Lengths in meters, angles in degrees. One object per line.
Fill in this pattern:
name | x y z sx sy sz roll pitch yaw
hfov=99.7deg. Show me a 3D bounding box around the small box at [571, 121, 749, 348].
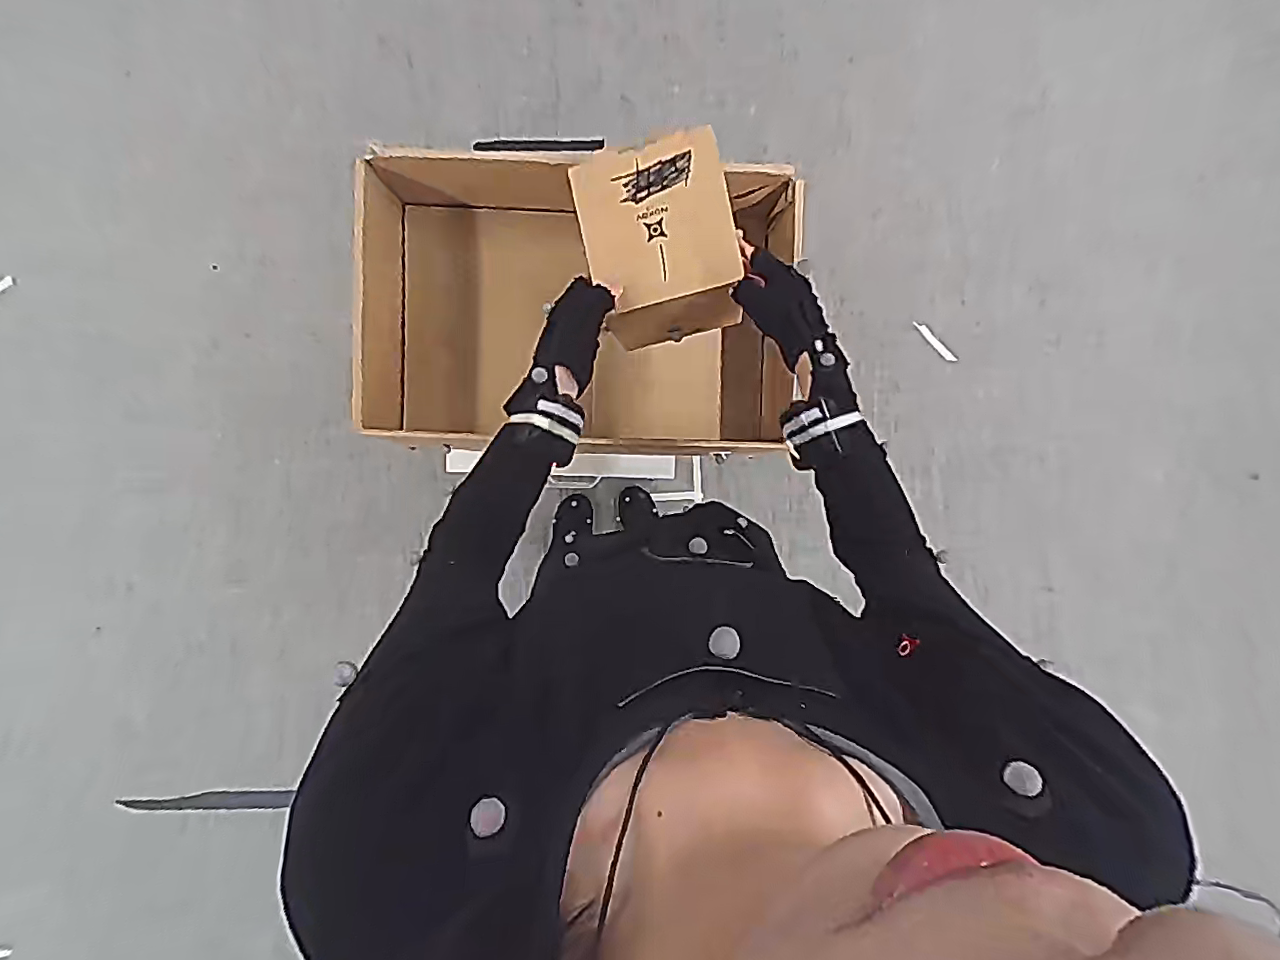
small box | 0.030 -0.280 0.657 0.168 0.176 0.179 -12 90 9
